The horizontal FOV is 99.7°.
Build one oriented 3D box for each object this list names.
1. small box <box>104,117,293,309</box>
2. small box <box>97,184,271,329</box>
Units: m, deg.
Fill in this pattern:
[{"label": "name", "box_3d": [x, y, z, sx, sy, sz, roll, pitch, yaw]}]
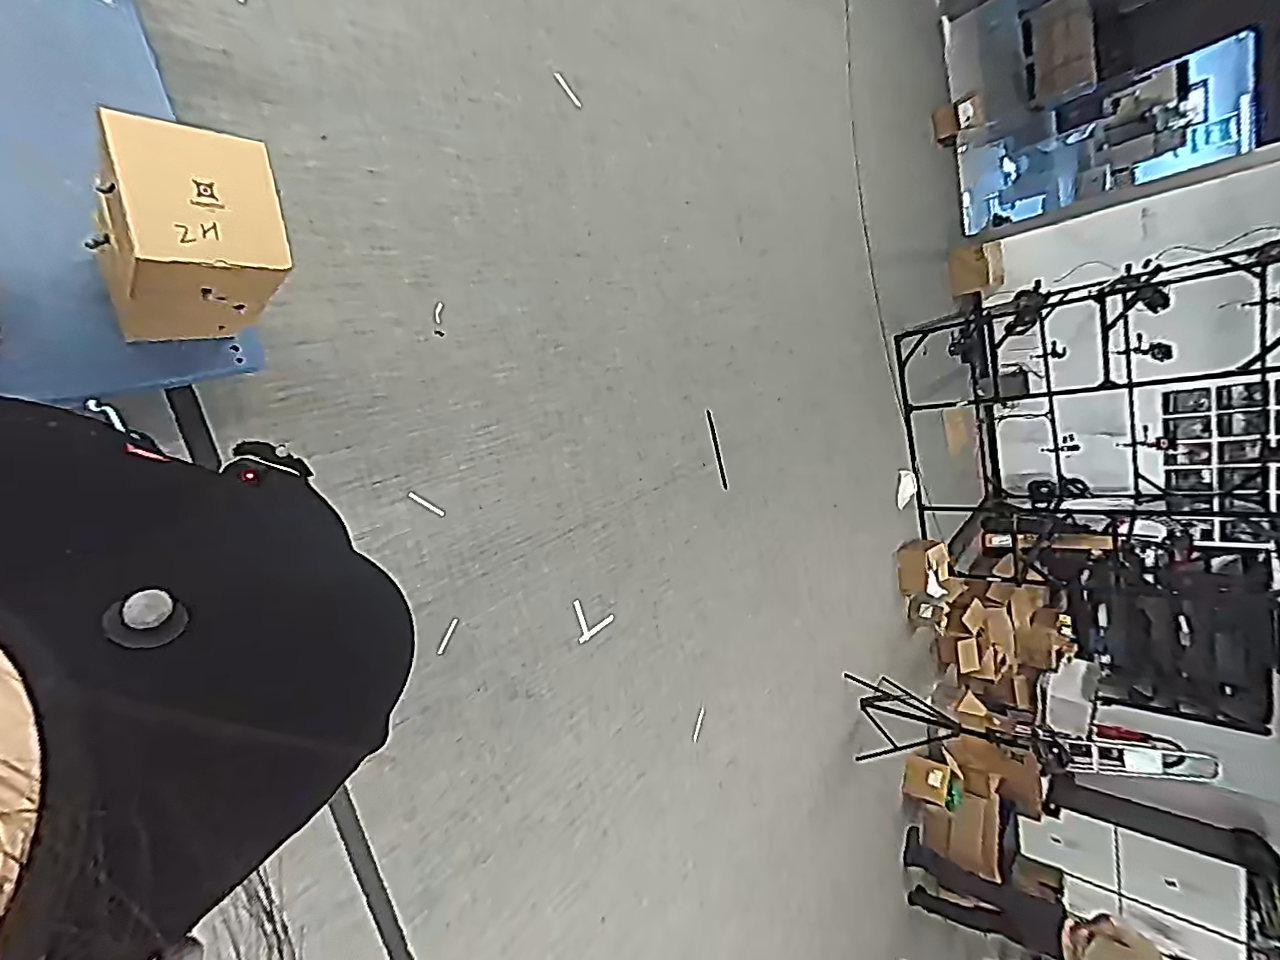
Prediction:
[{"label": "small box", "box_3d": [-0.615, -0.352, 0.752, 0.168, 0.176, 0.179, -15, 99, -44]}, {"label": "small box", "box_3d": [-0.731, -0.343, 0.869, 0.179, 0.176, 0.168, -17, 100, -45]}]
